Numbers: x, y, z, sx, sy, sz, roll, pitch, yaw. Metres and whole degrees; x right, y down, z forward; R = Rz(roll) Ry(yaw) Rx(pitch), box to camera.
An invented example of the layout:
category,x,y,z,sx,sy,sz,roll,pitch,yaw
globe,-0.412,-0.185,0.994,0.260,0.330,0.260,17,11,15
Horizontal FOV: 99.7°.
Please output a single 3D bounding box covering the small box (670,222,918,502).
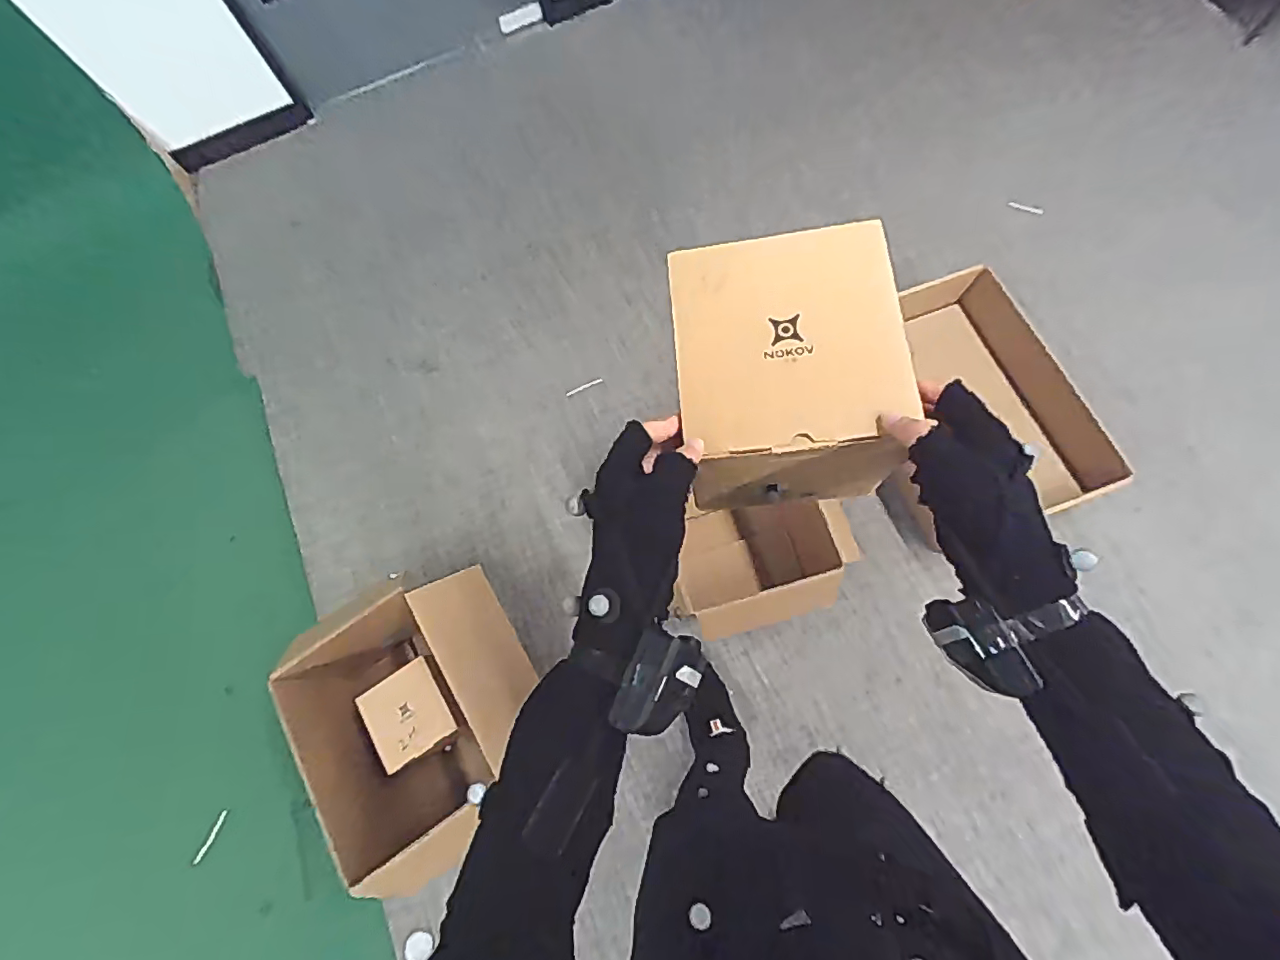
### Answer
category,x,y,z,sx,sy,sz,roll,pitch,yaw
small box,0.119,-0.088,0.480,0.168,0.176,0.179,-6,74,8
